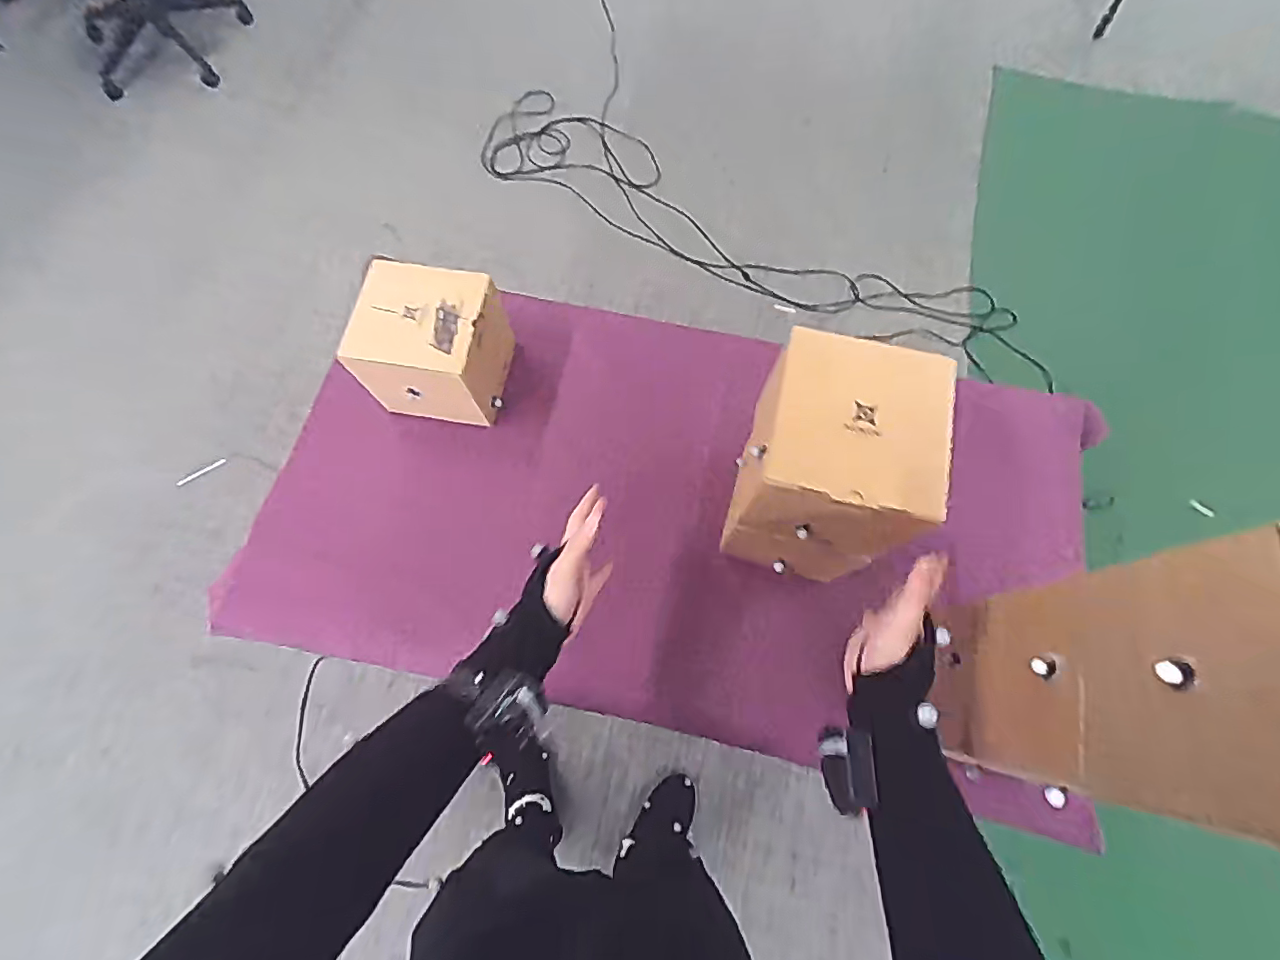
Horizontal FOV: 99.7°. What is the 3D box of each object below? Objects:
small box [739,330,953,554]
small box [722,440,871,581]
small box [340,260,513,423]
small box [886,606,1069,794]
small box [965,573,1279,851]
[{"bbox_3d":[0.215,-0.032,0.599,0.168,0.176,0.179,13,72,4],"label":"small box"},{"bbox_3d":[0.219,0.024,0.751,0.168,0.176,0.179,16,71,6],"label":"small box"},{"bbox_3d":[-0.306,-0.200,0.822,0.179,0.176,0.168,9,71,3],"label":"small box"},{"bbox_3d":[0.436,0.267,0.667,0.179,0.176,0.168,16,70,5],"label":"small box"},{"bbox_3d":[0.440,0.209,0.515,0.168,0.176,0.179,16,71,7],"label":"small box"}]
